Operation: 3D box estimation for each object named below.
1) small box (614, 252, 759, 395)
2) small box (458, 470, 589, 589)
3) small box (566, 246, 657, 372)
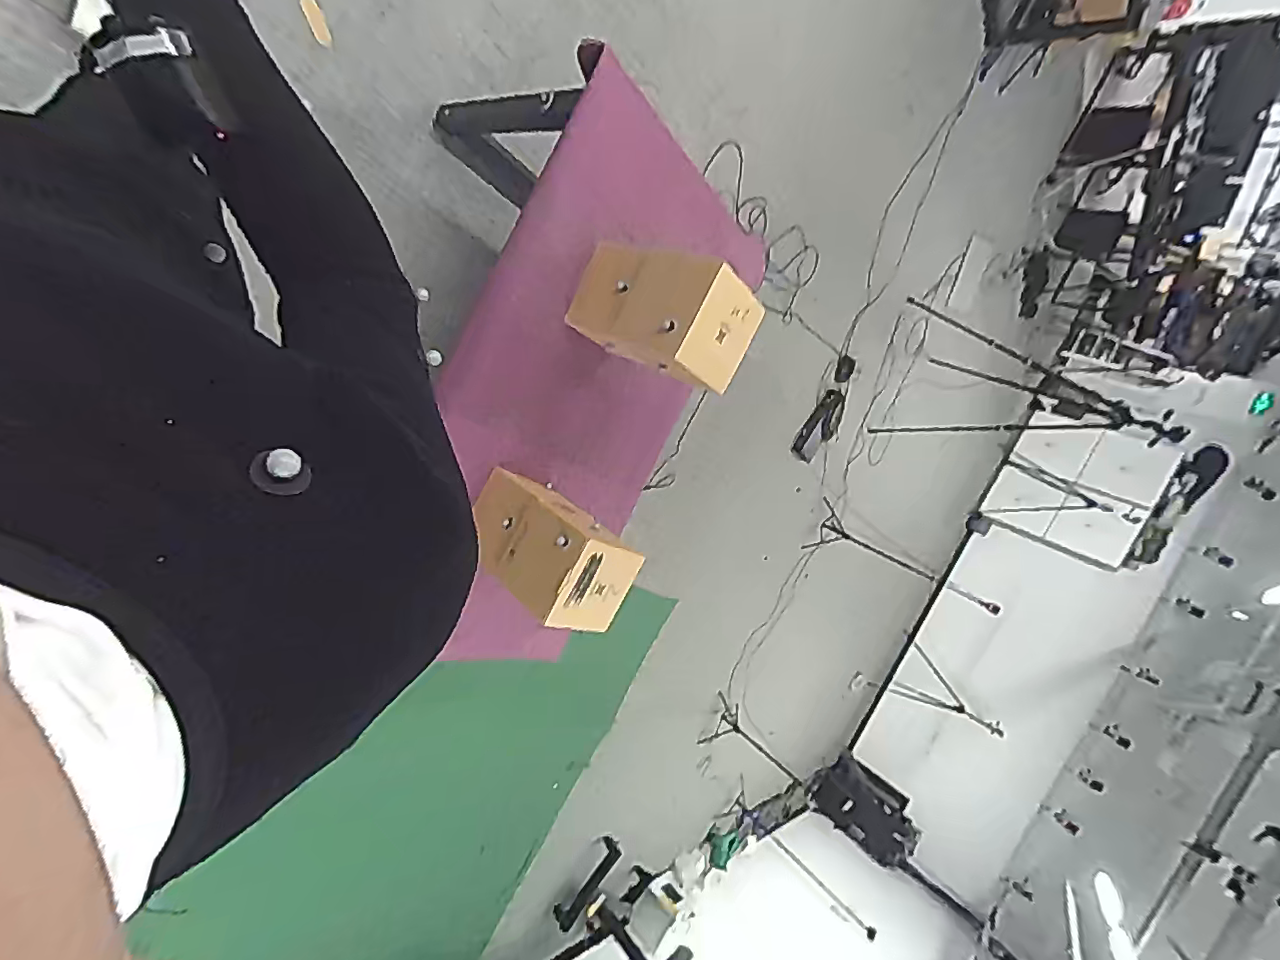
[{"bbox_3d":[0.078,-0.283,0.976,0.168,0.176,0.179,23,95,-51],"label":"small box"},{"bbox_3d":[-0.246,0.100,1.122,0.168,0.176,0.179,28,92,-51],"label":"small box"},{"bbox_3d":[-0.024,-0.346,1.091,0.168,0.176,0.179,21,96,-51],"label":"small box"}]
